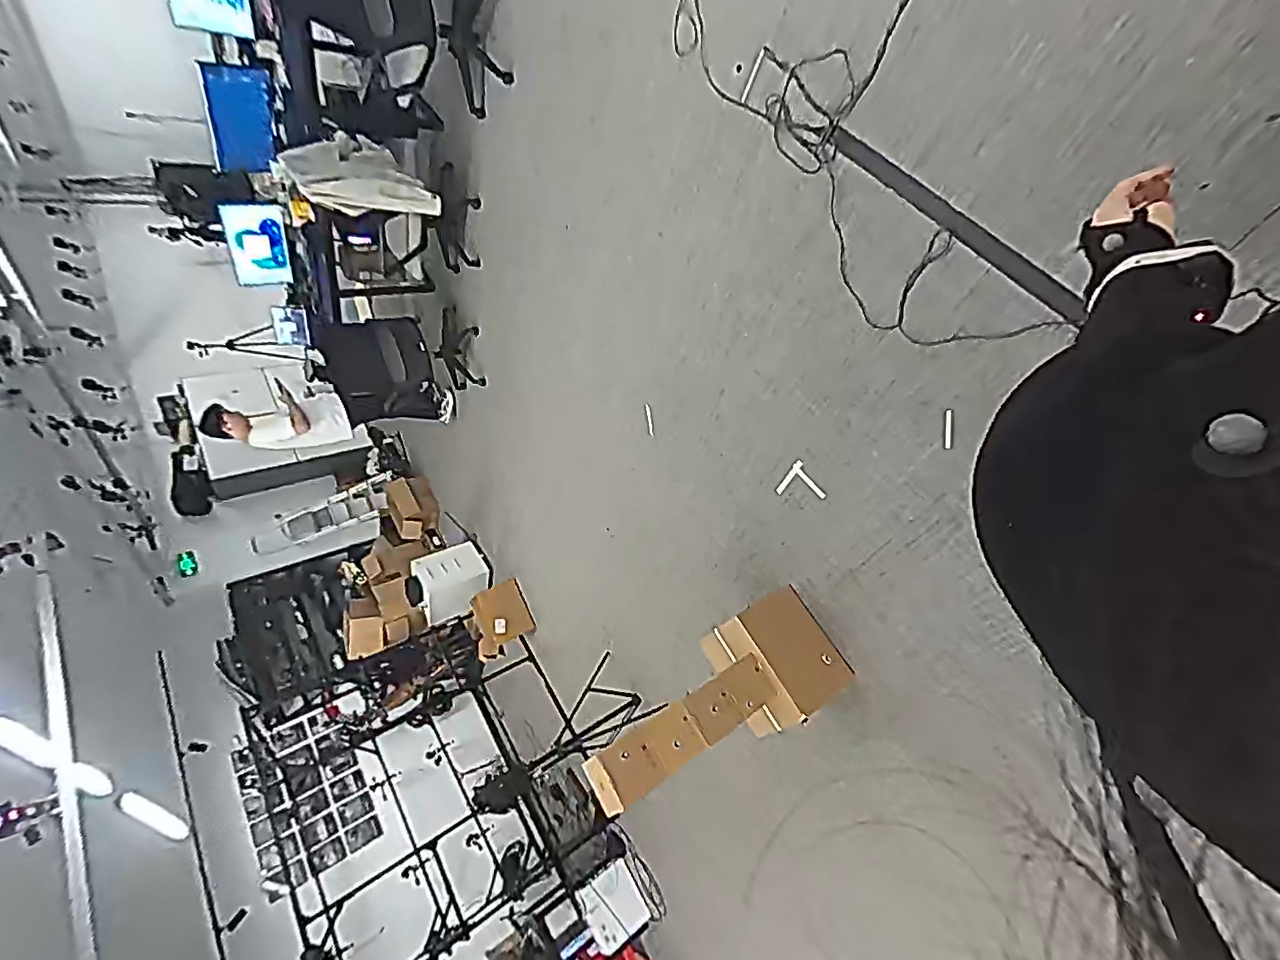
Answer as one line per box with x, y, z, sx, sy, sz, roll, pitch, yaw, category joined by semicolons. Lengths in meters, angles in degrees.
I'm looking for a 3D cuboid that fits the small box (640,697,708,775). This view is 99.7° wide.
0.091;0.821;1.722;0.168;0.176;0.179;55;144;21;small box

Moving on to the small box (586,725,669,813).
-0.037;0.870;1.635;0.168;0.176;0.179;56;145;22;small box

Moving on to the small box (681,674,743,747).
0.219;0.780;1.815;0.168;0.176;0.179;57;143;19;small box
